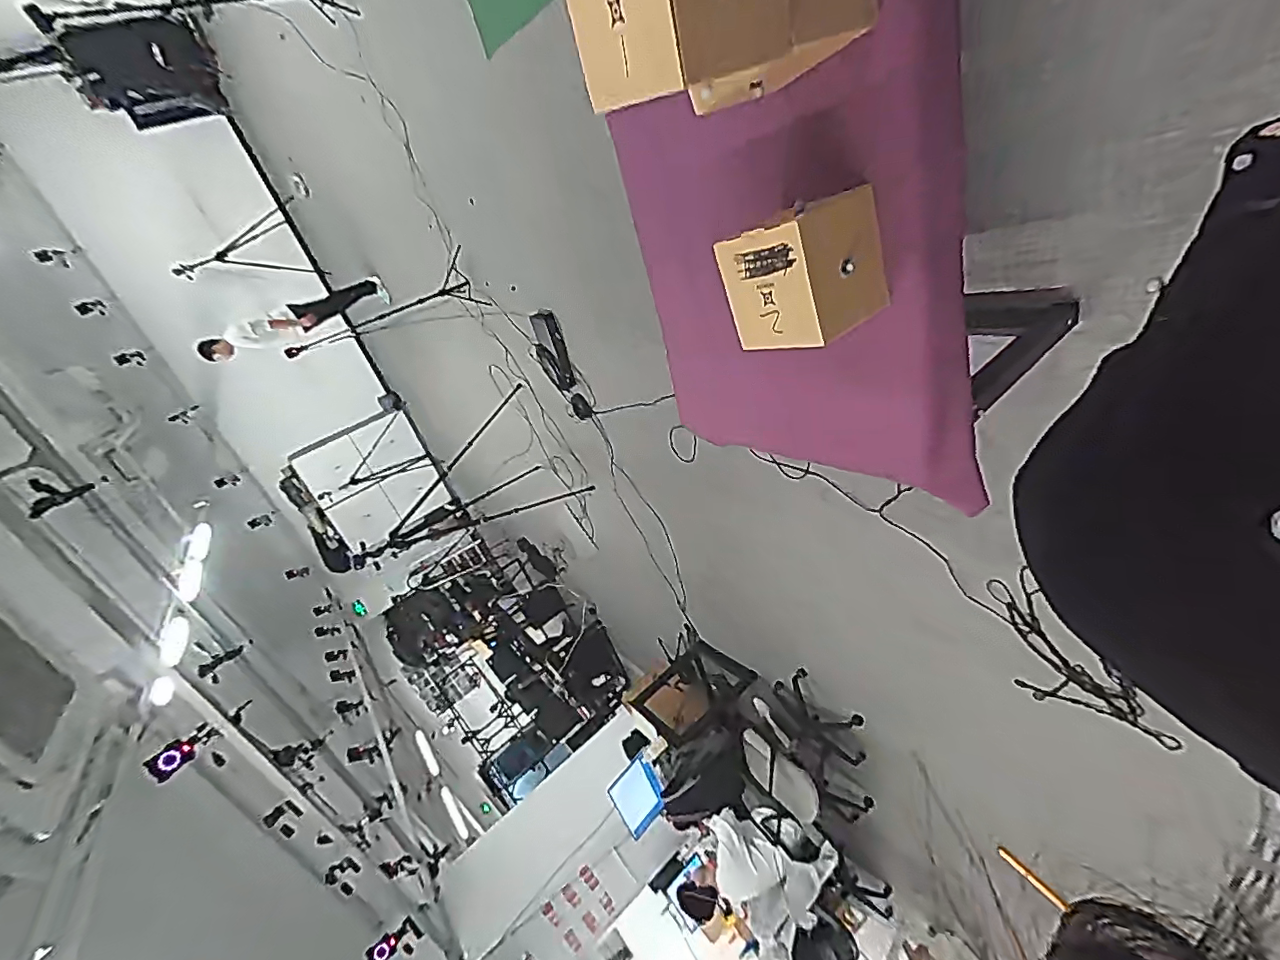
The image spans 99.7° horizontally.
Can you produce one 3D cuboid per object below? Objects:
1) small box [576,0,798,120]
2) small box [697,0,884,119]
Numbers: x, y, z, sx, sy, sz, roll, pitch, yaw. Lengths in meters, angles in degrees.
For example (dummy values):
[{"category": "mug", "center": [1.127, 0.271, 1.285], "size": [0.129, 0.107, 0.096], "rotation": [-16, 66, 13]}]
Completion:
[{"category": "small box", "center": [0.049, -0.517, 0.581], "size": [0.168, 0.176, 0.179], "rotation": [29, 144, 47]}, {"category": "small box", "center": [0.166, -0.590, 0.674], "size": [0.179, 0.176, 0.168], "rotation": [12, 131, 57]}]
